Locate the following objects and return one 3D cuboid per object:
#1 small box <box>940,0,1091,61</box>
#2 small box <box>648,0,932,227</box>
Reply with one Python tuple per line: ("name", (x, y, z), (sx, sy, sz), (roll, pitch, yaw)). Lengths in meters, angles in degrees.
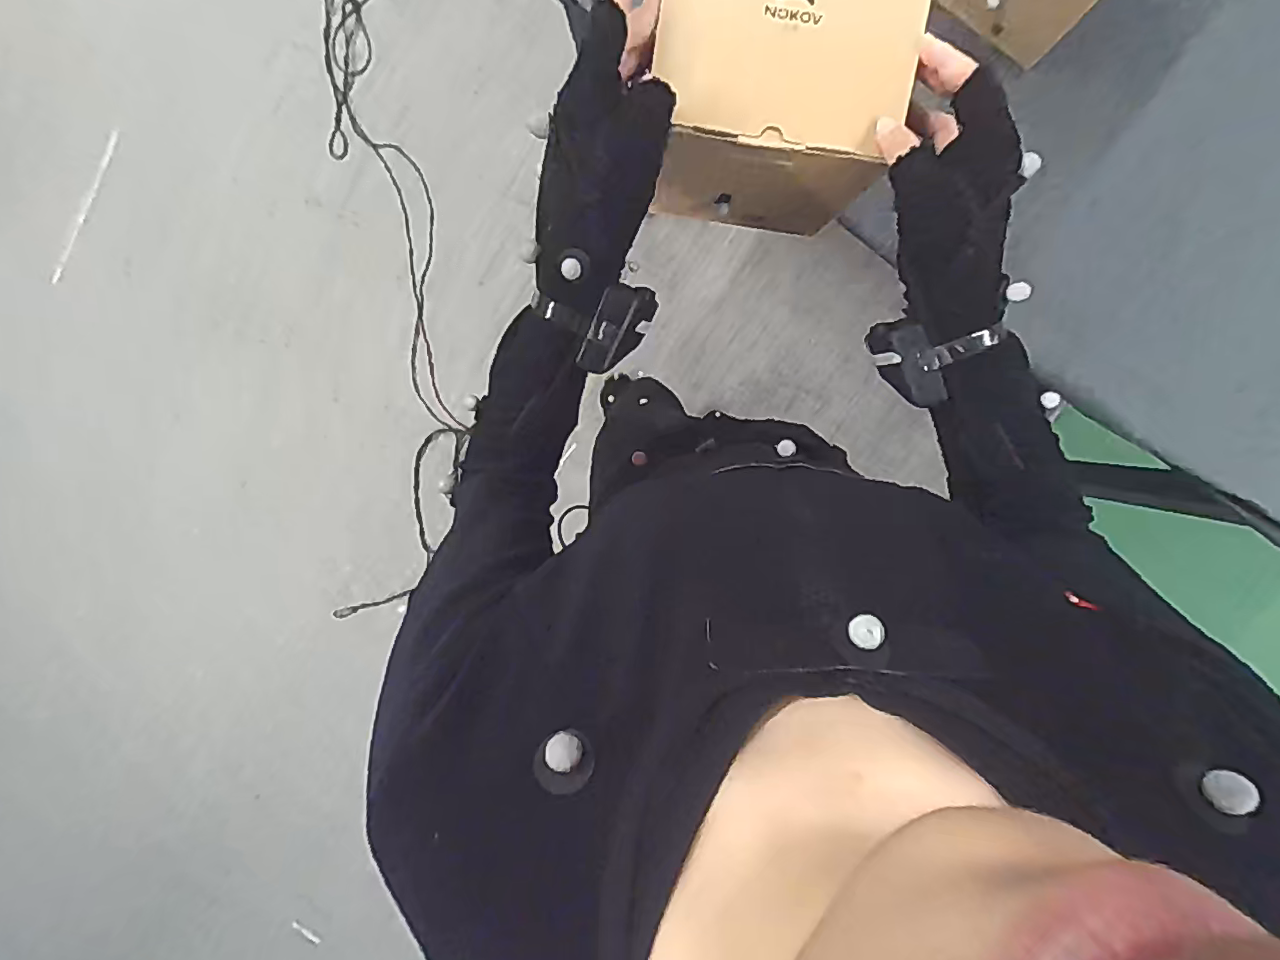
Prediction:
("small box", (0.444, -0.604, 0.558), (0.168, 0.176, 0.179), (37, 98, 0))
("small box", (0.098, -0.317, 0.409), (0.168, 0.176, 0.179), (9, 101, -1))
